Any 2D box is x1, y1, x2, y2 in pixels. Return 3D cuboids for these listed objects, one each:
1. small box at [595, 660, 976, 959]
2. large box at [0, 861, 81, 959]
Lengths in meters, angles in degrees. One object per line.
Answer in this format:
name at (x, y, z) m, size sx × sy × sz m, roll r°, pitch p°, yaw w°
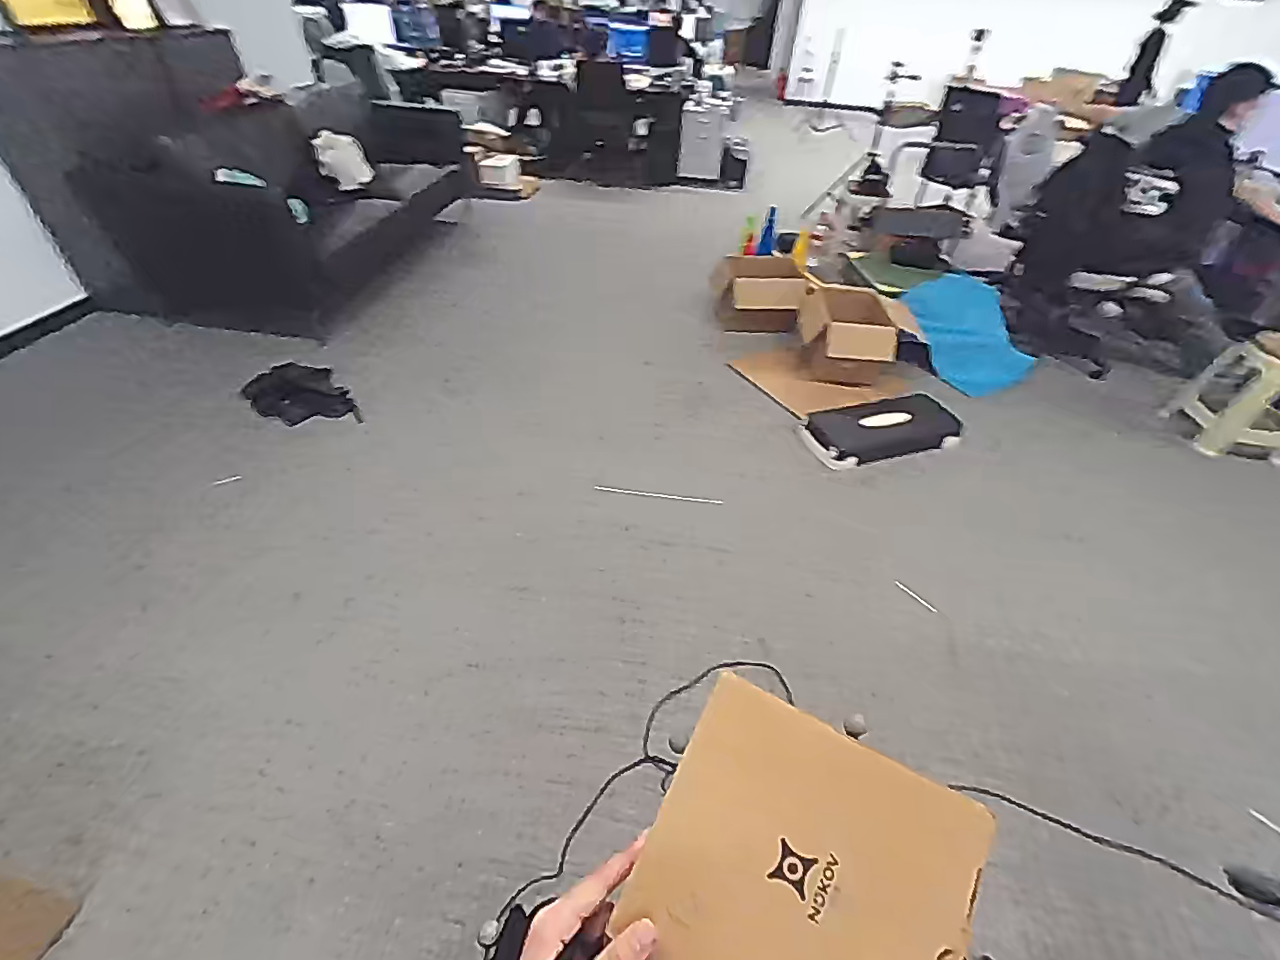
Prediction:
small box at (0.094, 0.252, 0.389) m, size 0.179 × 0.176 × 0.168 m, roll 23°, pitch 72°, yaw 16°
large box at (-1.272, 0.813, 0.838) m, size 0.320 × 0.320 × 0.408 m, roll 11°, pitch 41°, yaw 7°
